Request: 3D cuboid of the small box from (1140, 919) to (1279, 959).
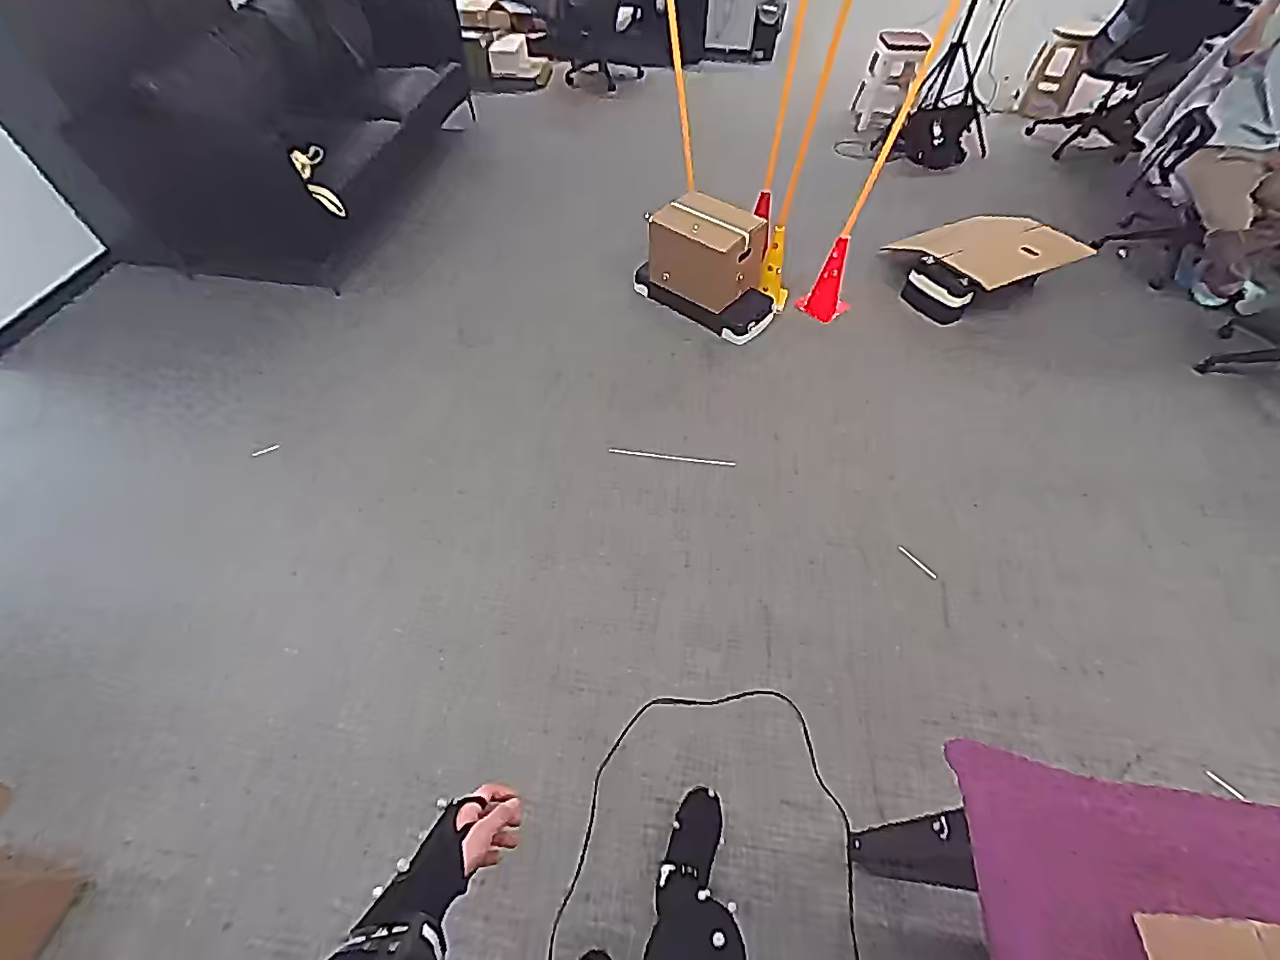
[{"bbox_3d":[0.692,0.569,0.555,0.179,0.176,0.168,5,53,4],"label":"small box"}]
